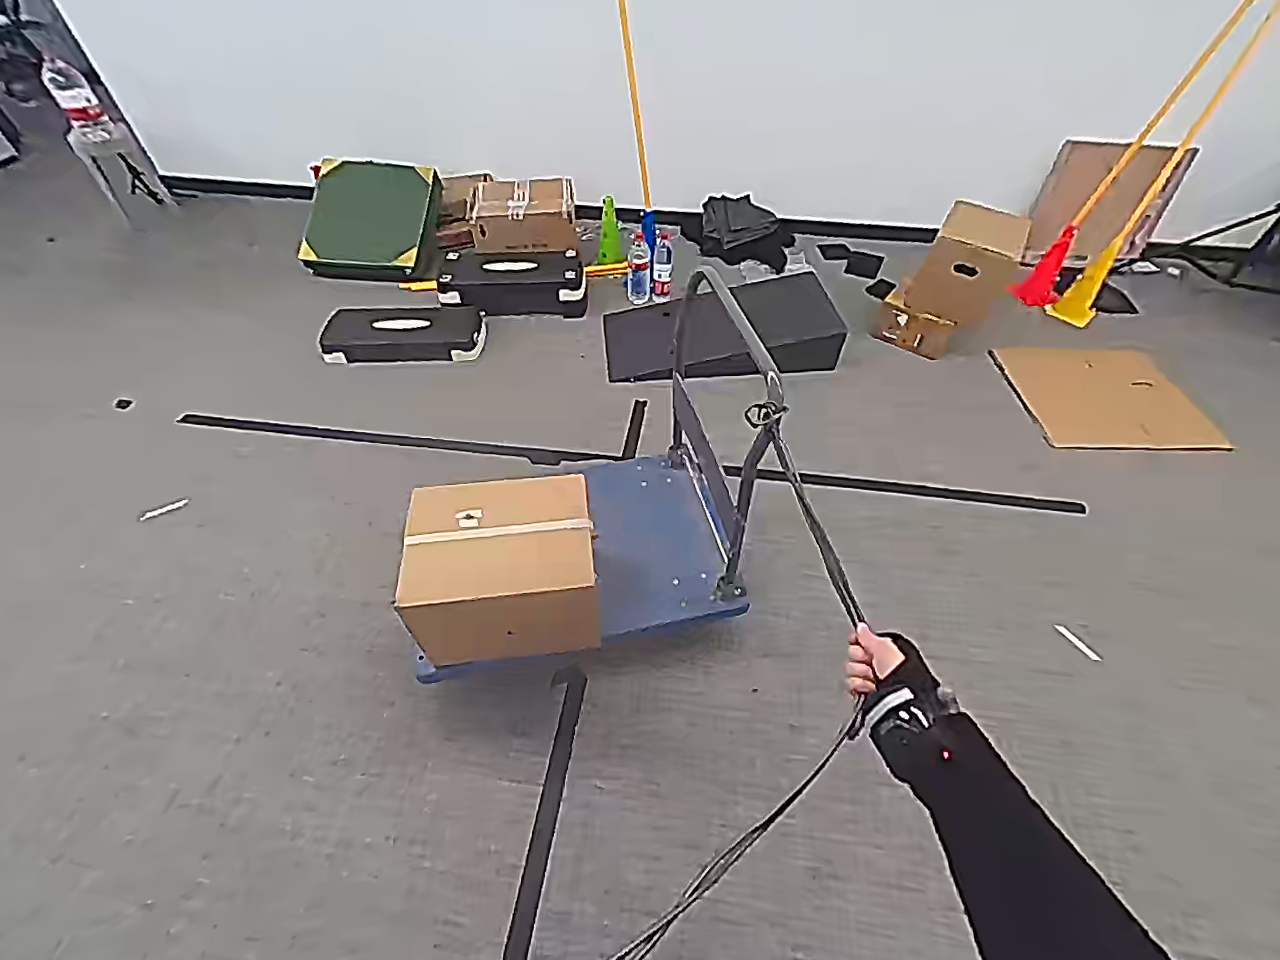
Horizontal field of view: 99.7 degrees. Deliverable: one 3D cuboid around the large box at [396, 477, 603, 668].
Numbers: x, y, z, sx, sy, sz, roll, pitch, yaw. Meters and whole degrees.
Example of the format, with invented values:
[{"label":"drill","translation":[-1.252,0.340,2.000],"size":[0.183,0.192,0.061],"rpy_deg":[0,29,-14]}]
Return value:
[{"label":"large box","translation":[-0.310,0.224,1.297],"size":[0.408,0.320,0.320],"rpy_deg":[-6,49,-6]}]
